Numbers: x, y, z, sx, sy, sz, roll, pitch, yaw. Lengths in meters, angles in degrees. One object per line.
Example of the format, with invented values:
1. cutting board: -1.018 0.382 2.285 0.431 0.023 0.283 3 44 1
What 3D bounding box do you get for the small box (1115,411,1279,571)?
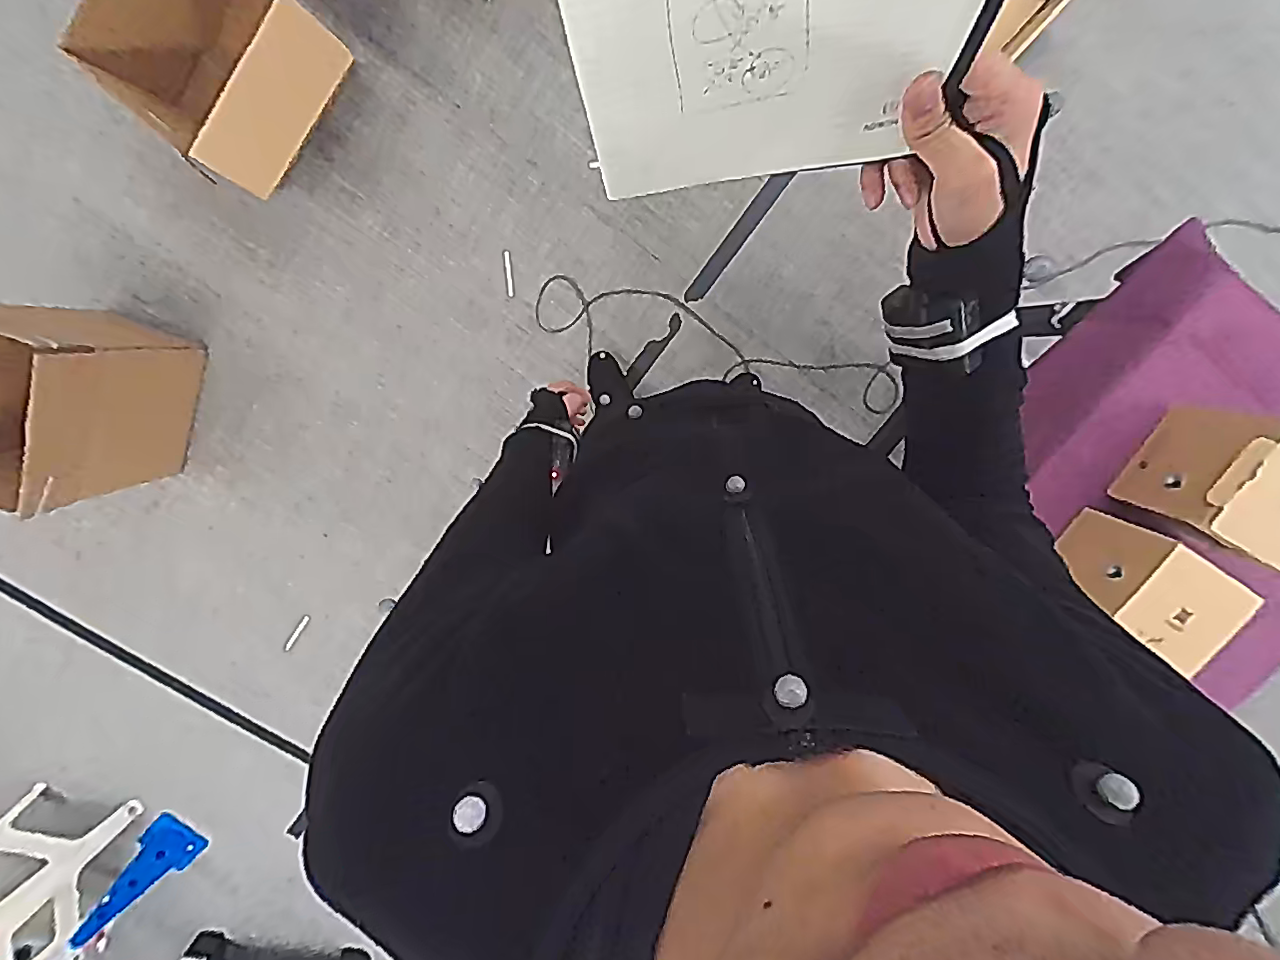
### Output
1. small box: 0.876 0.009 0.796 0.179 0.176 0.168 28 104 -6
